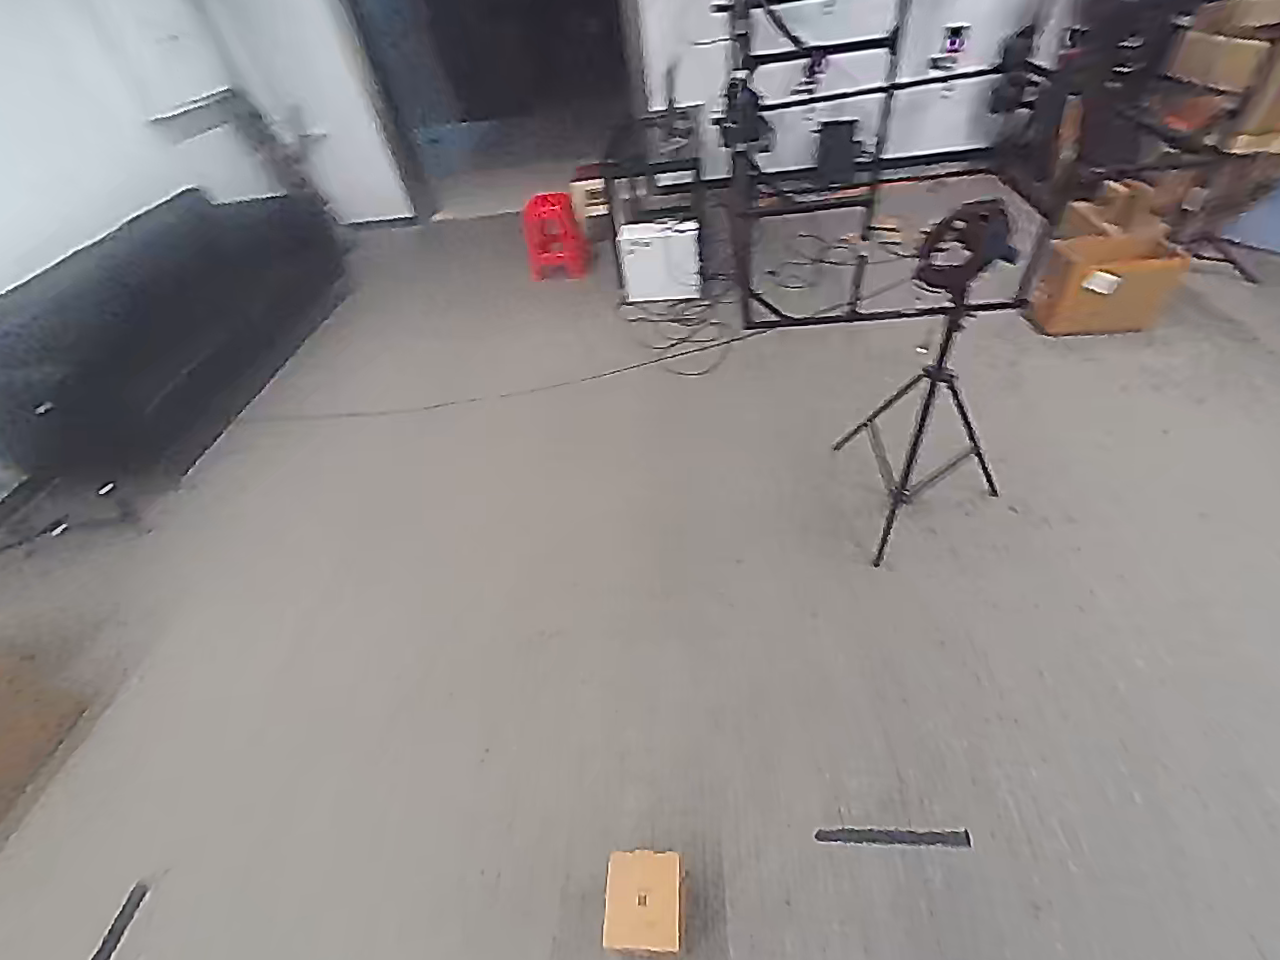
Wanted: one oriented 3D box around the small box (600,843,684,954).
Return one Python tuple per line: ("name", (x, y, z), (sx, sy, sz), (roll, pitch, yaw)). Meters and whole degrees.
("small box", (0.012, 0.967, 1.250), (0.168, 0.176, 0.179), (-3, 44, 9))
